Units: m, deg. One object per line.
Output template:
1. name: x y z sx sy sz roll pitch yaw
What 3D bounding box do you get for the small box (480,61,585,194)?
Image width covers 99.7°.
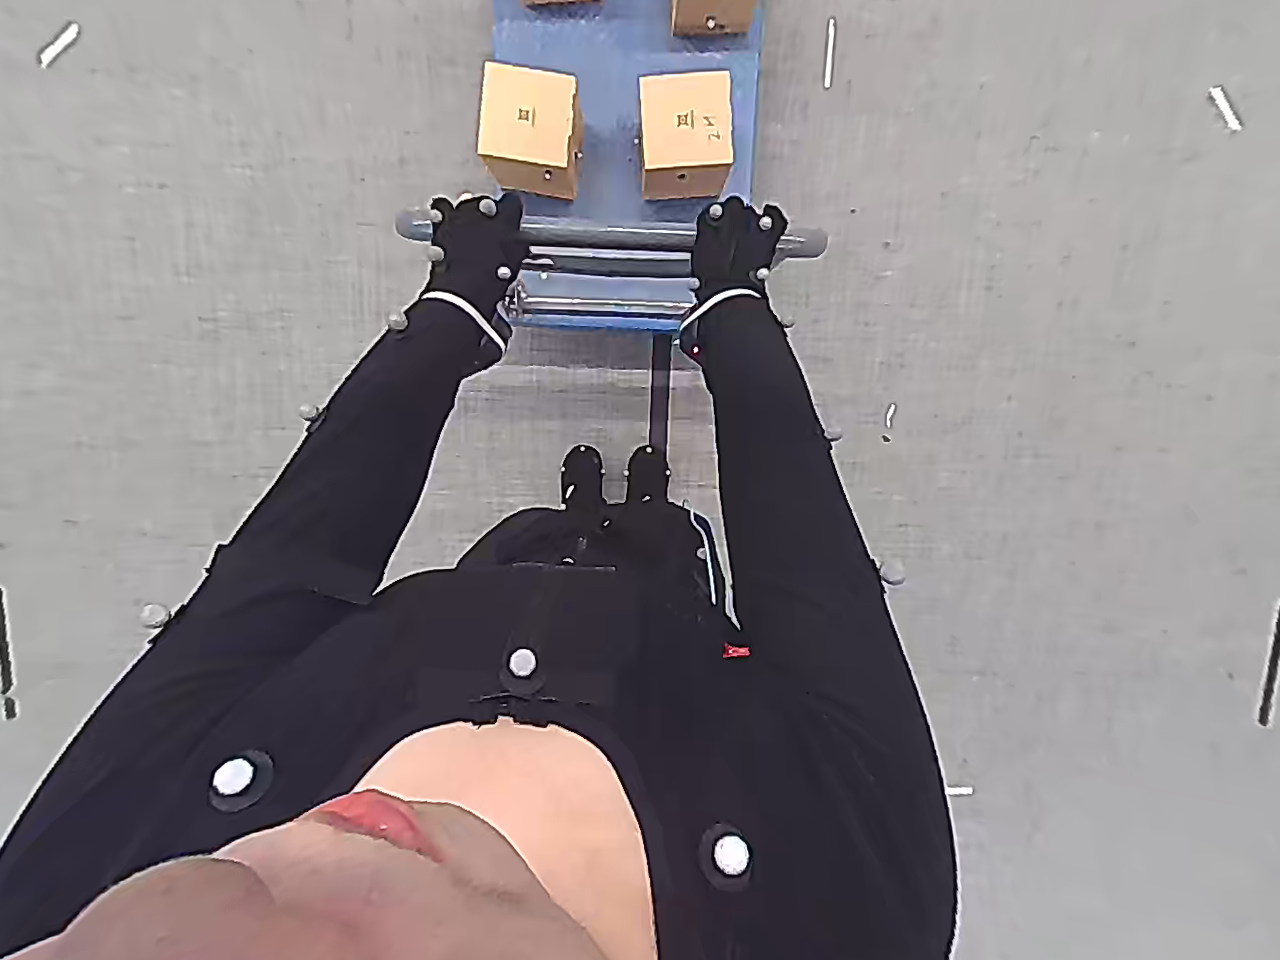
1. small box: -0.214 -0.713 1.114 0.179 0.176 0.168 7 98 -3

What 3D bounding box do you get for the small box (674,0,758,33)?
1. small box: 0.153 -1.034 1.066 0.168 0.176 0.179 -2 100 0

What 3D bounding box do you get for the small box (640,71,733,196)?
1. small box: 0.091 -0.705 1.118 0.179 0.176 0.168 -3 99 0
